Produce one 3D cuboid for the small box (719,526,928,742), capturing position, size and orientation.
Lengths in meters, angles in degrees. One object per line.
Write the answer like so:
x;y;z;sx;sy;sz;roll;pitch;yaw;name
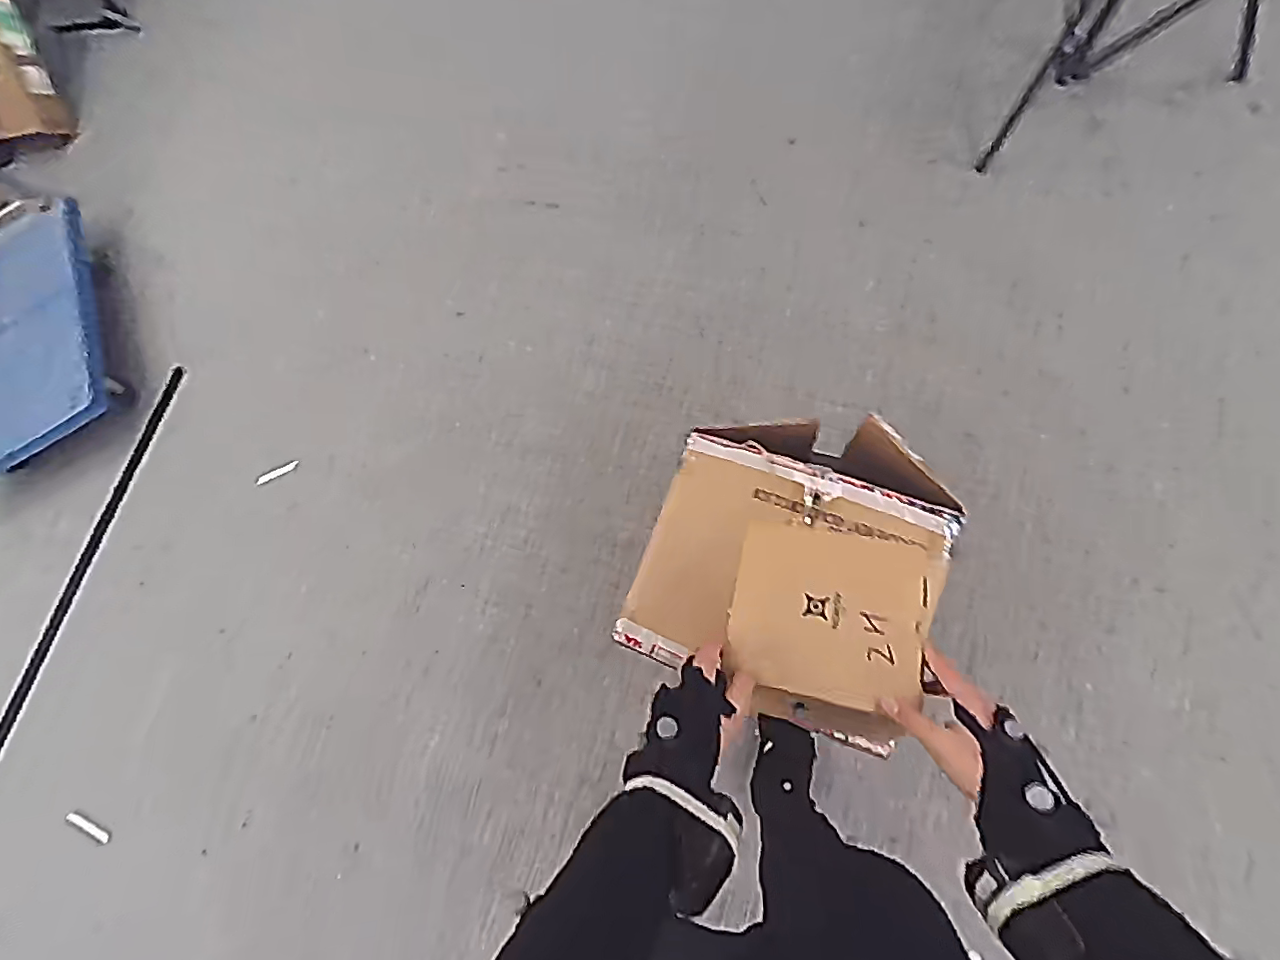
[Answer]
0.193;0.169;0.579;0.179;0.176;0.168;8;62;18;small box
